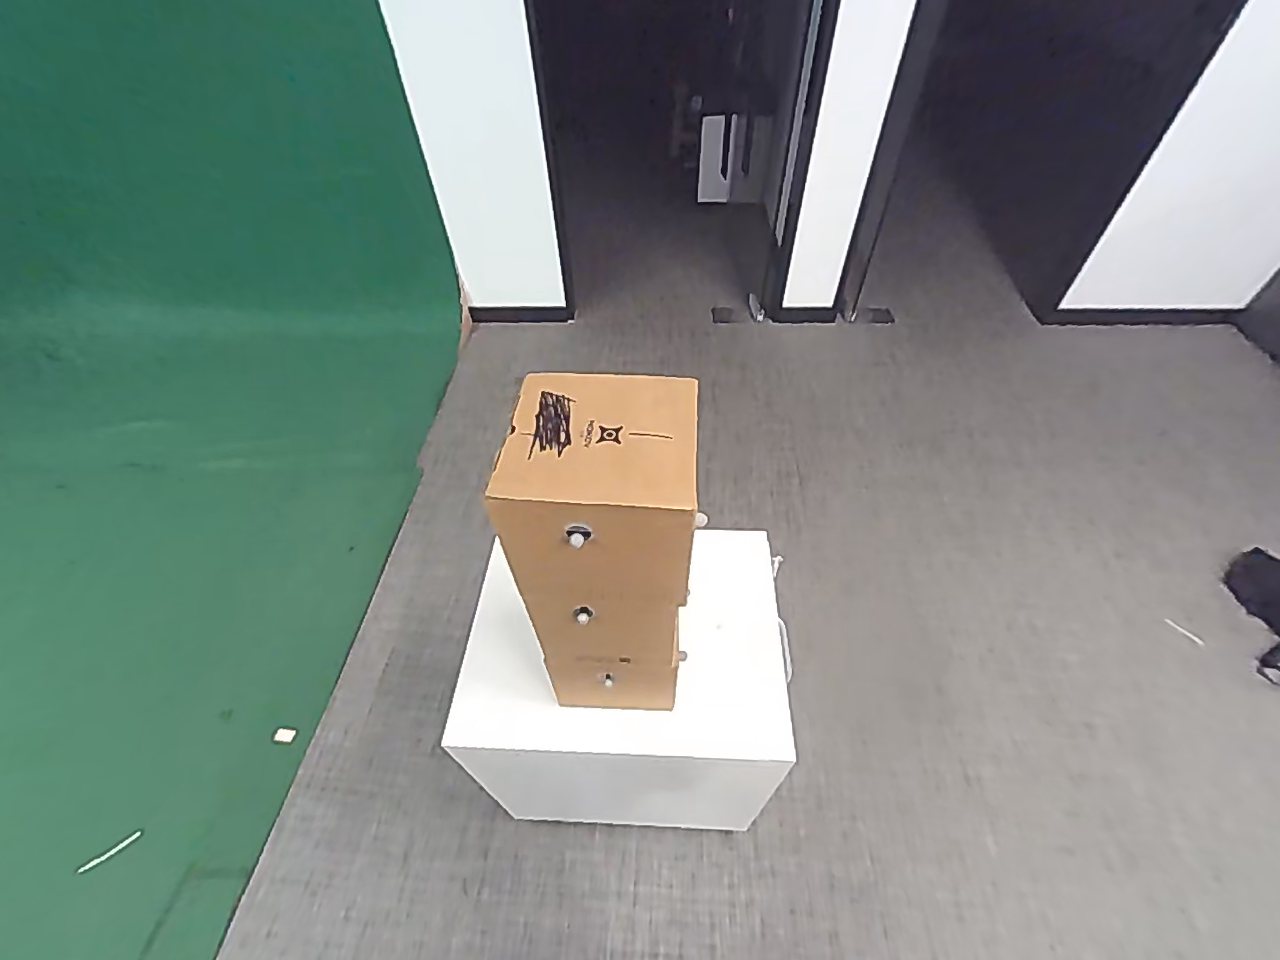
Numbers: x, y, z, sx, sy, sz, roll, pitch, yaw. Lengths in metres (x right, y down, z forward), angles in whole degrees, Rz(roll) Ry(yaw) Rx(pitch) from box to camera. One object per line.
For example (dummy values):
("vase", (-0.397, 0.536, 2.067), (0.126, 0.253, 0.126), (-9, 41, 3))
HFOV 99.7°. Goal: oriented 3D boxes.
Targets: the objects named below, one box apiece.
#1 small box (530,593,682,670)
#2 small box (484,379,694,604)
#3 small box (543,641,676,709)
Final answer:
("small box", (-0.035, 0.122, 0.688), (0.168, 0.176, 0.179), (0, 49, 1))
("small box", (-0.037, 0.015, 0.560), (0.179, 0.176, 0.168), (3, 49, 4))
("small box", (-0.035, 0.231, 0.806), (0.179, 0.176, 0.168), (1, 49, 2))
